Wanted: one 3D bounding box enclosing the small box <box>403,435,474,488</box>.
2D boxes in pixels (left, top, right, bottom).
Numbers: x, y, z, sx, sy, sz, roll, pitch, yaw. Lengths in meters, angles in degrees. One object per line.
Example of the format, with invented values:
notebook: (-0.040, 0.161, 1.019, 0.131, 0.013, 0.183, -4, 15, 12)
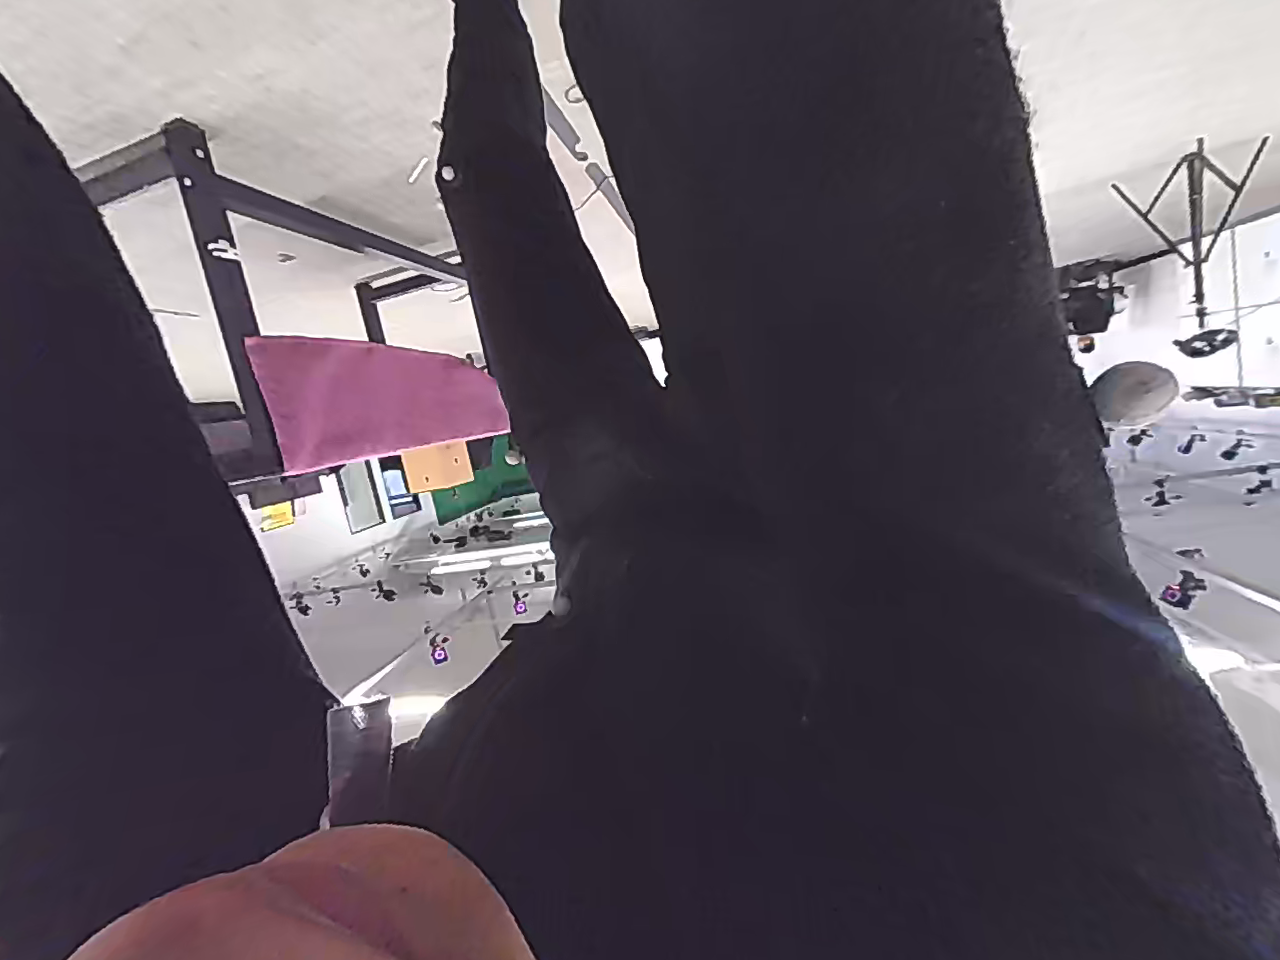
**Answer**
small box: (-0.772, -0.077, 2.066, 0.179, 0.176, 0.168, -8, -172, 23)
